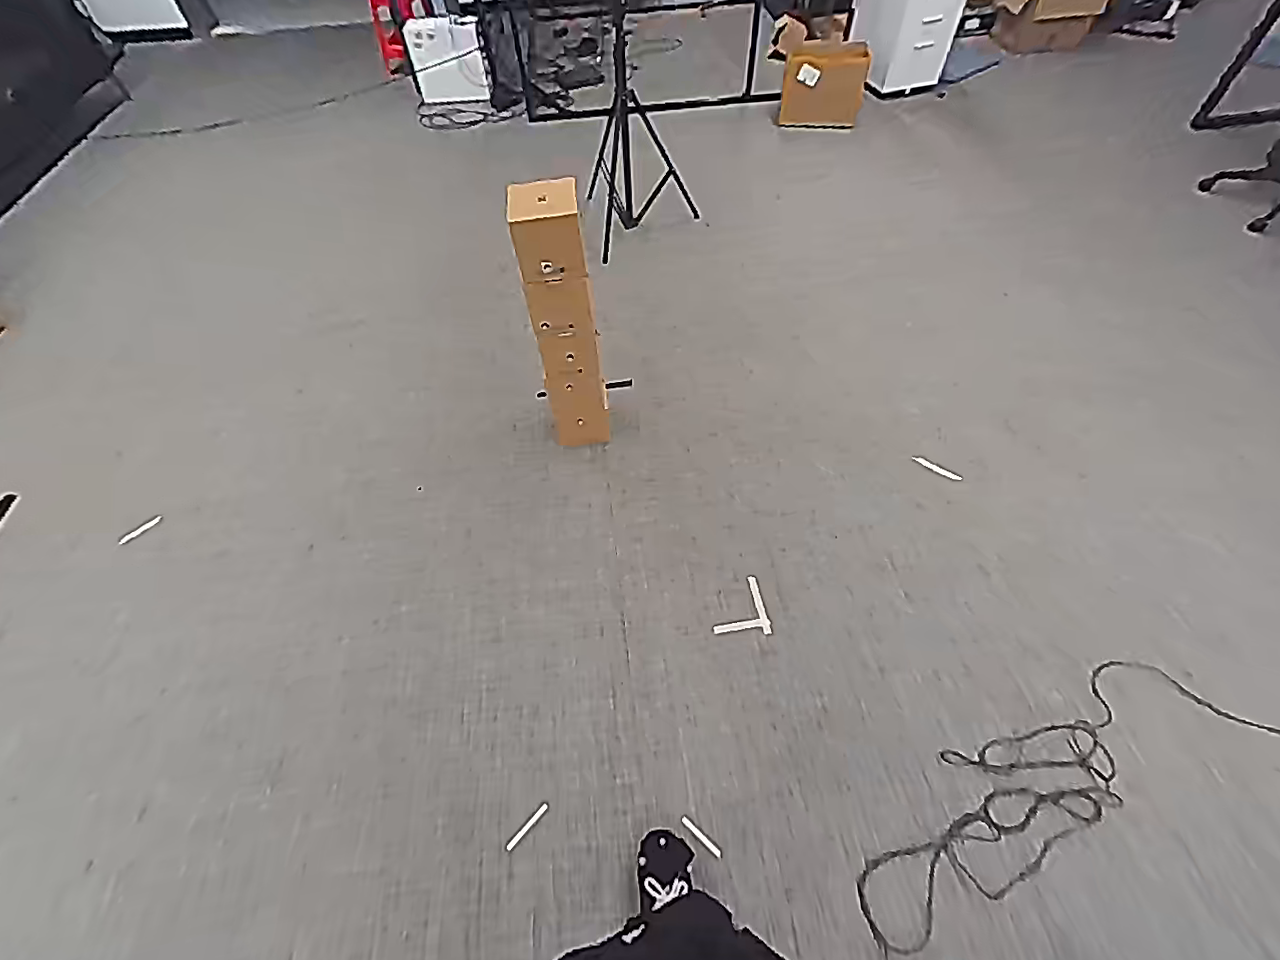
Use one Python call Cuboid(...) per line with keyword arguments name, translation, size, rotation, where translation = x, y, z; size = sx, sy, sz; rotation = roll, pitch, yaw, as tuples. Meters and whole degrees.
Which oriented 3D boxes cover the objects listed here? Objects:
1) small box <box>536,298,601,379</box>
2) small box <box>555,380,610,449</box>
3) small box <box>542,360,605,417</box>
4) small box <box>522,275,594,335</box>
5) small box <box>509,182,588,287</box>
Cuboid(name="small box", translation=(-0.209, -0.416, 1.609), size=(0.168, 0.176, 0.179), rotation=(-6, 55, -1))
Cuboid(name="small box", translation=(-0.197, -0.226, 1.875), size=(0.179, 0.176, 0.168), rotation=(-7, 55, -2))
Cuboid(name="small box", translation=(-0.211, -0.318, 1.739), size=(0.179, 0.176, 0.168), rotation=(-5, 55, 0))
Cuboid(name="small box", translation=(-0.220, -0.513, 1.476), size=(0.168, 0.176, 0.179), rotation=(-6, 54, -1))
Cuboid(name="small box", translation=(-0.225, -0.608, 1.345), size=(0.168, 0.176, 0.179), rotation=(-9, 55, -2))
